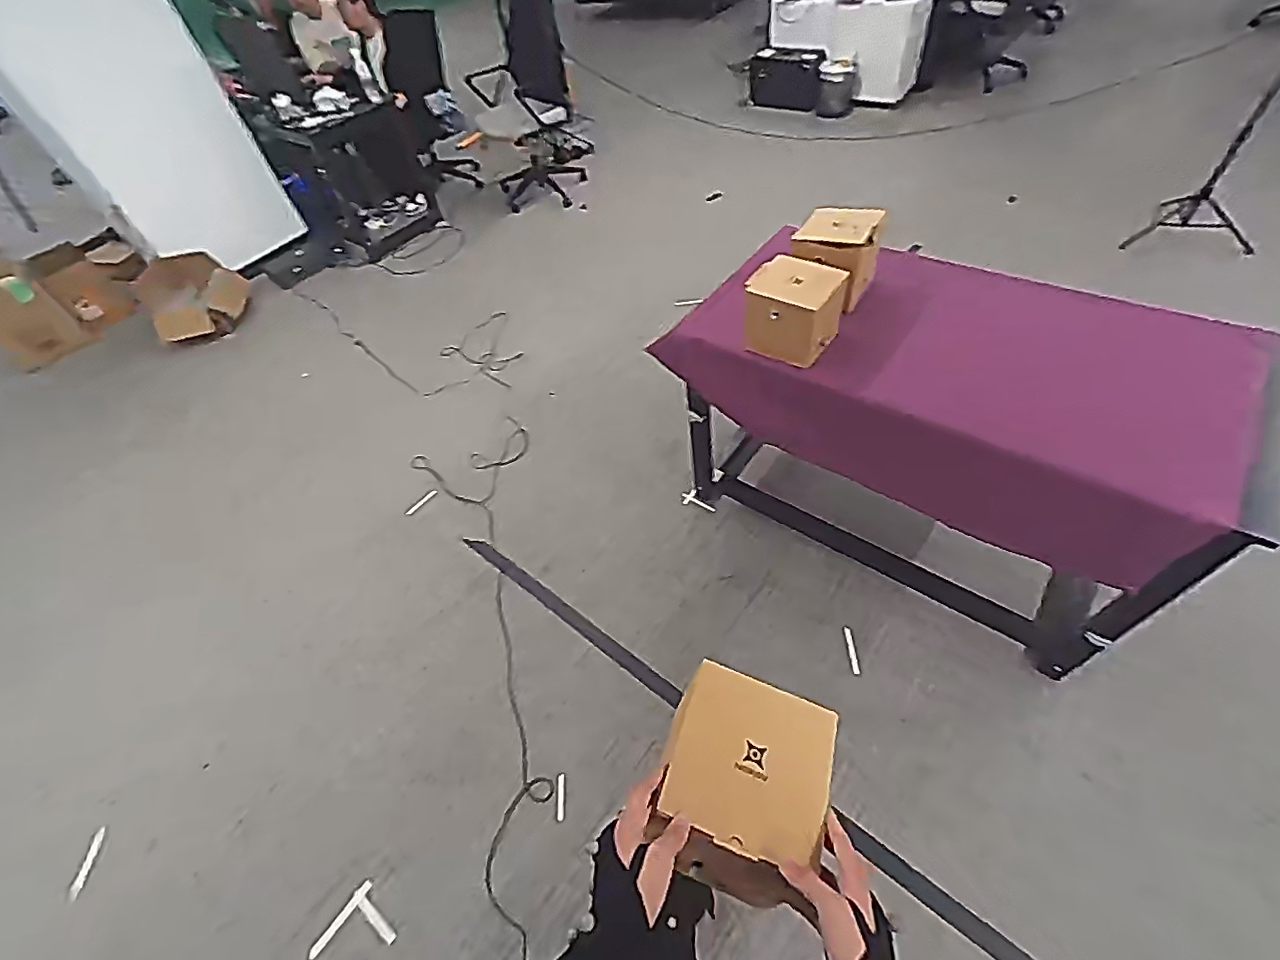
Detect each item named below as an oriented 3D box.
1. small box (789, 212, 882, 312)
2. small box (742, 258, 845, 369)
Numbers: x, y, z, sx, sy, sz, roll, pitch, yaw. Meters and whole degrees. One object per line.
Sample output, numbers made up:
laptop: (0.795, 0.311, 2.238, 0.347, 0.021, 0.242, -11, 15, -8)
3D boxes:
small box: (0.489, -0.557, 1.388, 0.179, 0.176, 0.168, 26, 60, 25)
small box: (0.355, -0.390, 1.276, 0.179, 0.176, 0.168, 28, 61, 27)
